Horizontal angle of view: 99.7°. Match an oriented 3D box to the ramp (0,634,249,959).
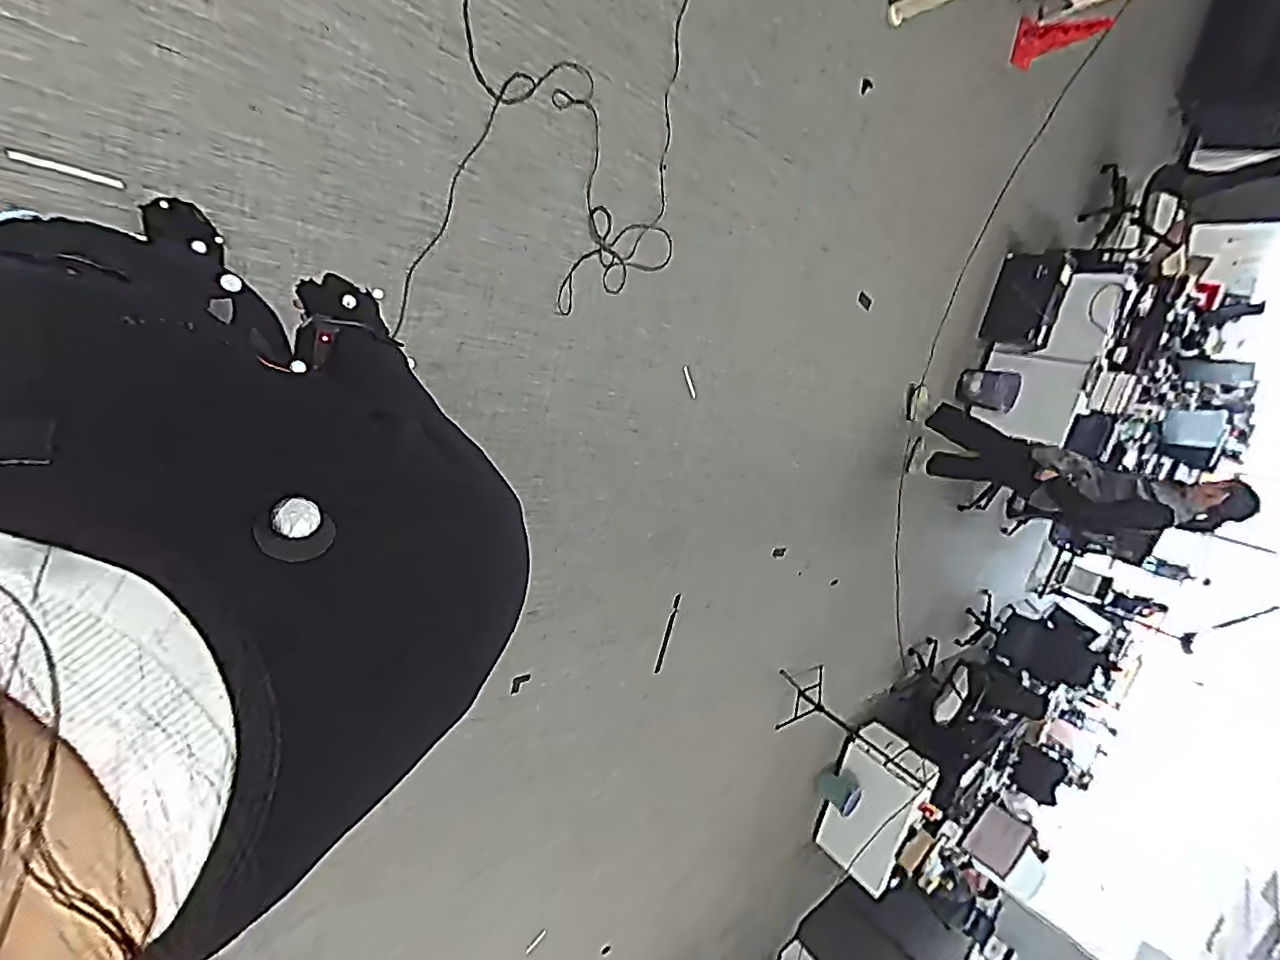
[{"bbox_3d":[-1.206,0.865,1.218,0.509,0.206,0.991,1,106,-39],"label":"ramp"}]
